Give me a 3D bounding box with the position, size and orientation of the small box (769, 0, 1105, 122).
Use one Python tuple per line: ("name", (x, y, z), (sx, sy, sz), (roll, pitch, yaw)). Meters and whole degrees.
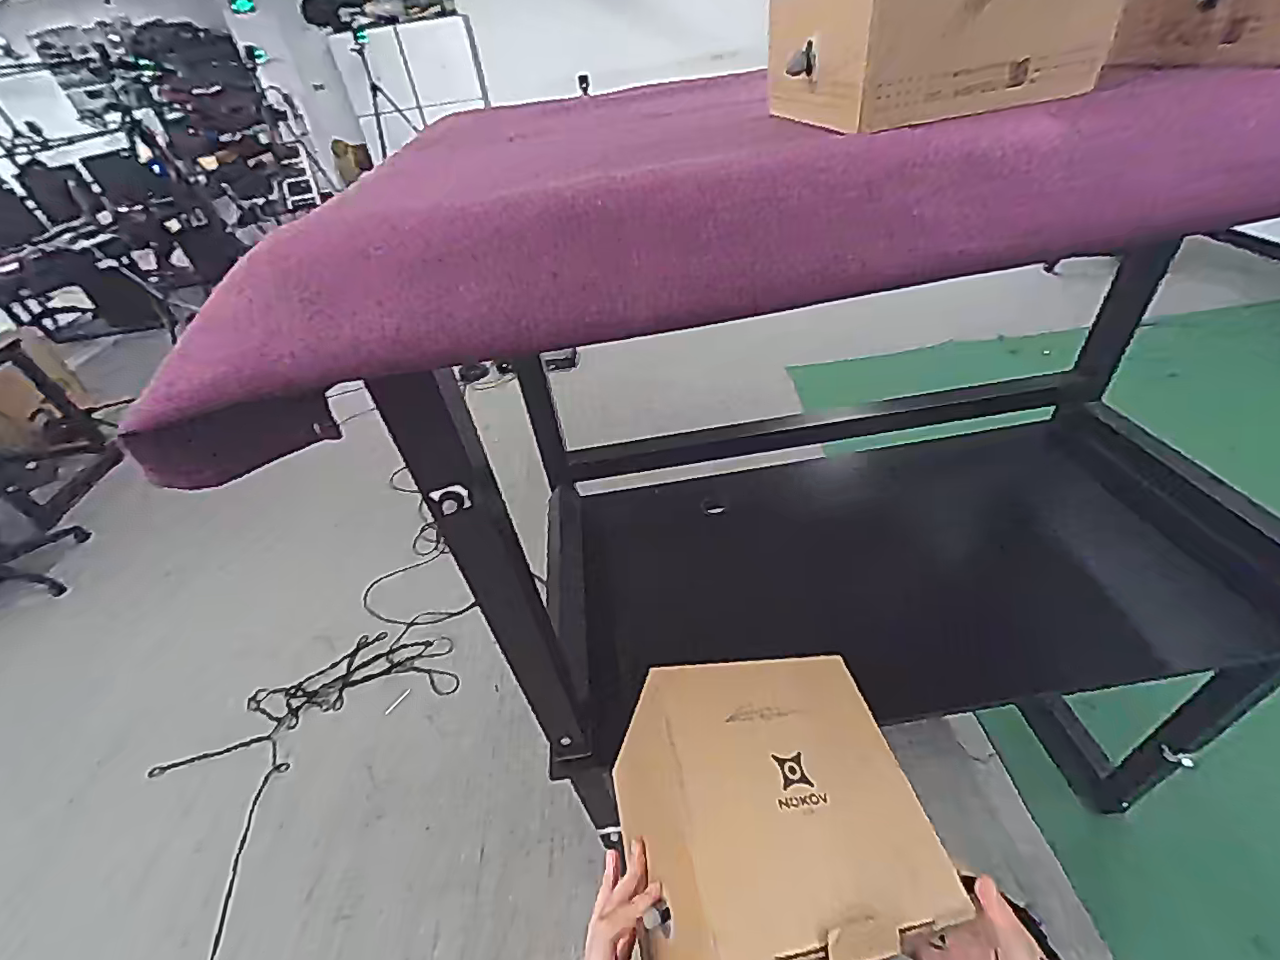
("small box", (0.196, -0.359, 0.370), (0.168, 0.176, 0.179), (-11, 40, -3))
